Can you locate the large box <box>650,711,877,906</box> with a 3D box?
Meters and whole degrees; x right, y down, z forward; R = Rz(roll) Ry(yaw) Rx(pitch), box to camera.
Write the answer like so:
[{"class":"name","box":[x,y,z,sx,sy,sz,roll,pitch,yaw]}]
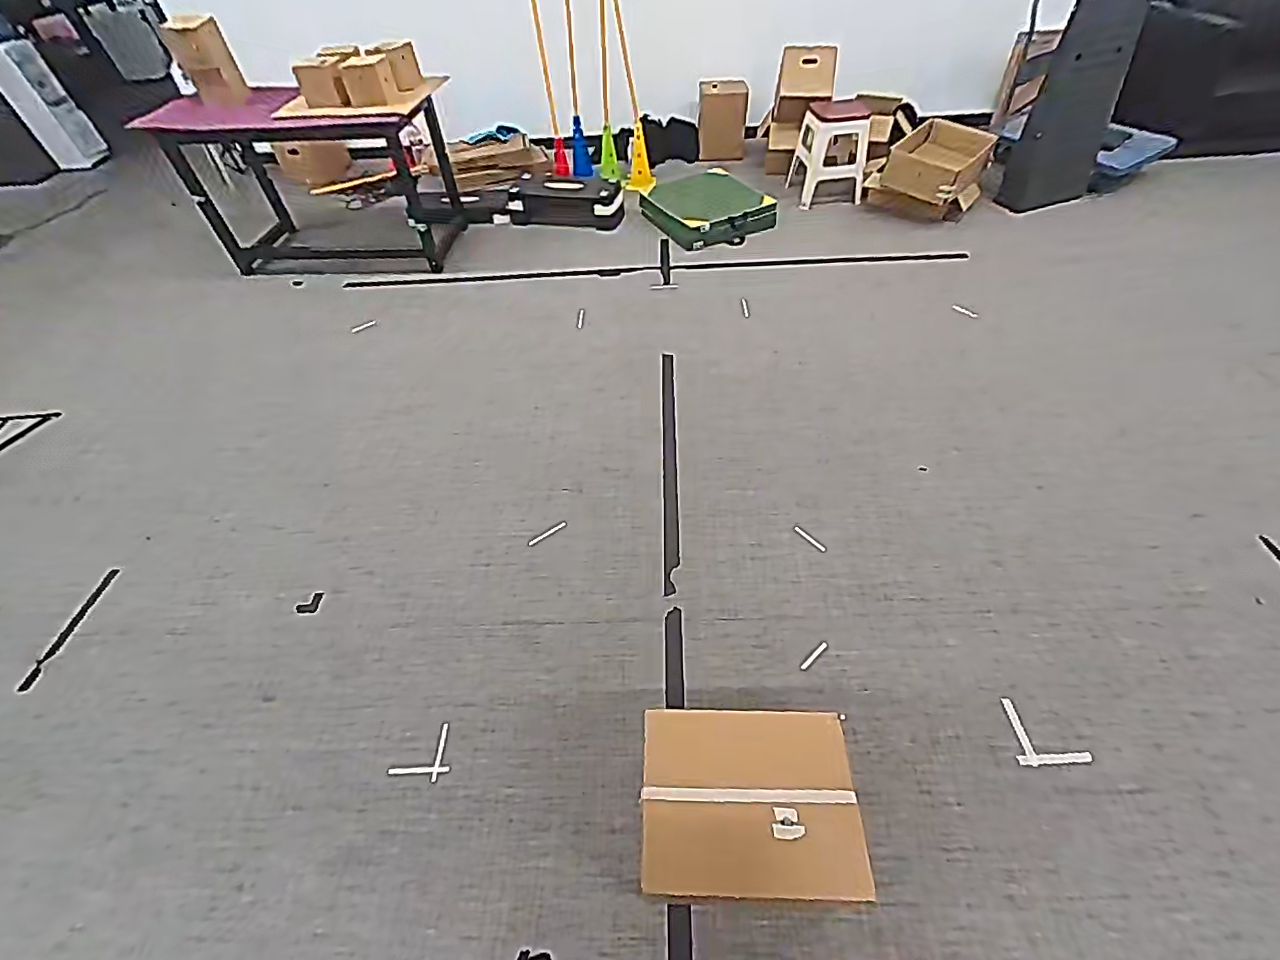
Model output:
[{"class":"large box","box":[0.223,0.704,1.155,0.408,0.320,0.320,0,51,3]}]
